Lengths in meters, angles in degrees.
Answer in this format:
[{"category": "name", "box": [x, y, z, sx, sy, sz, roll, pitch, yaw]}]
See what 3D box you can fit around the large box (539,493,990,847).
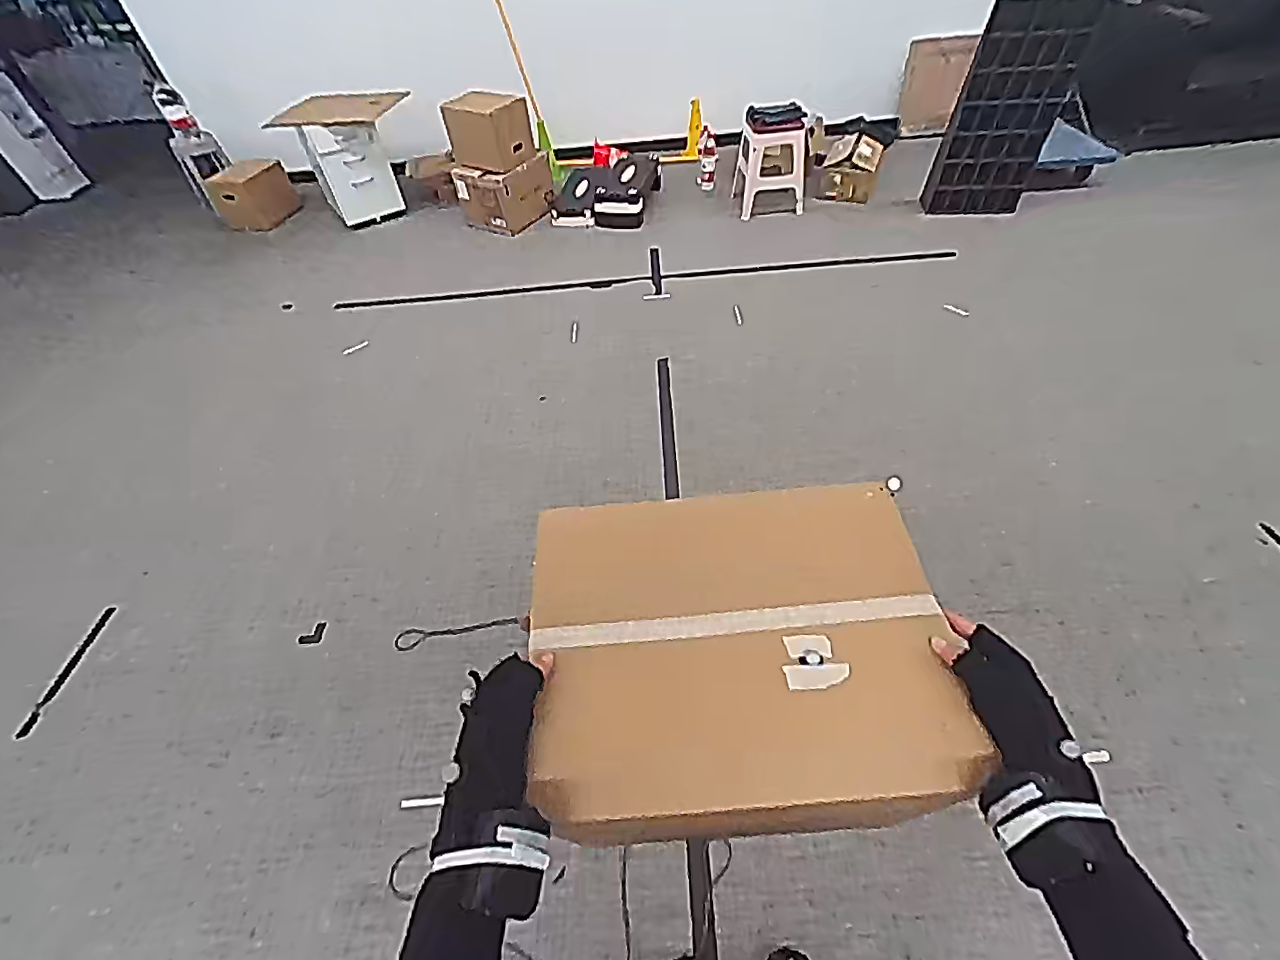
[{"category": "large box", "box": [0.105, 0.245, 0.674, 0.408, 0.320, 0.320, -5, 53, 1]}]
